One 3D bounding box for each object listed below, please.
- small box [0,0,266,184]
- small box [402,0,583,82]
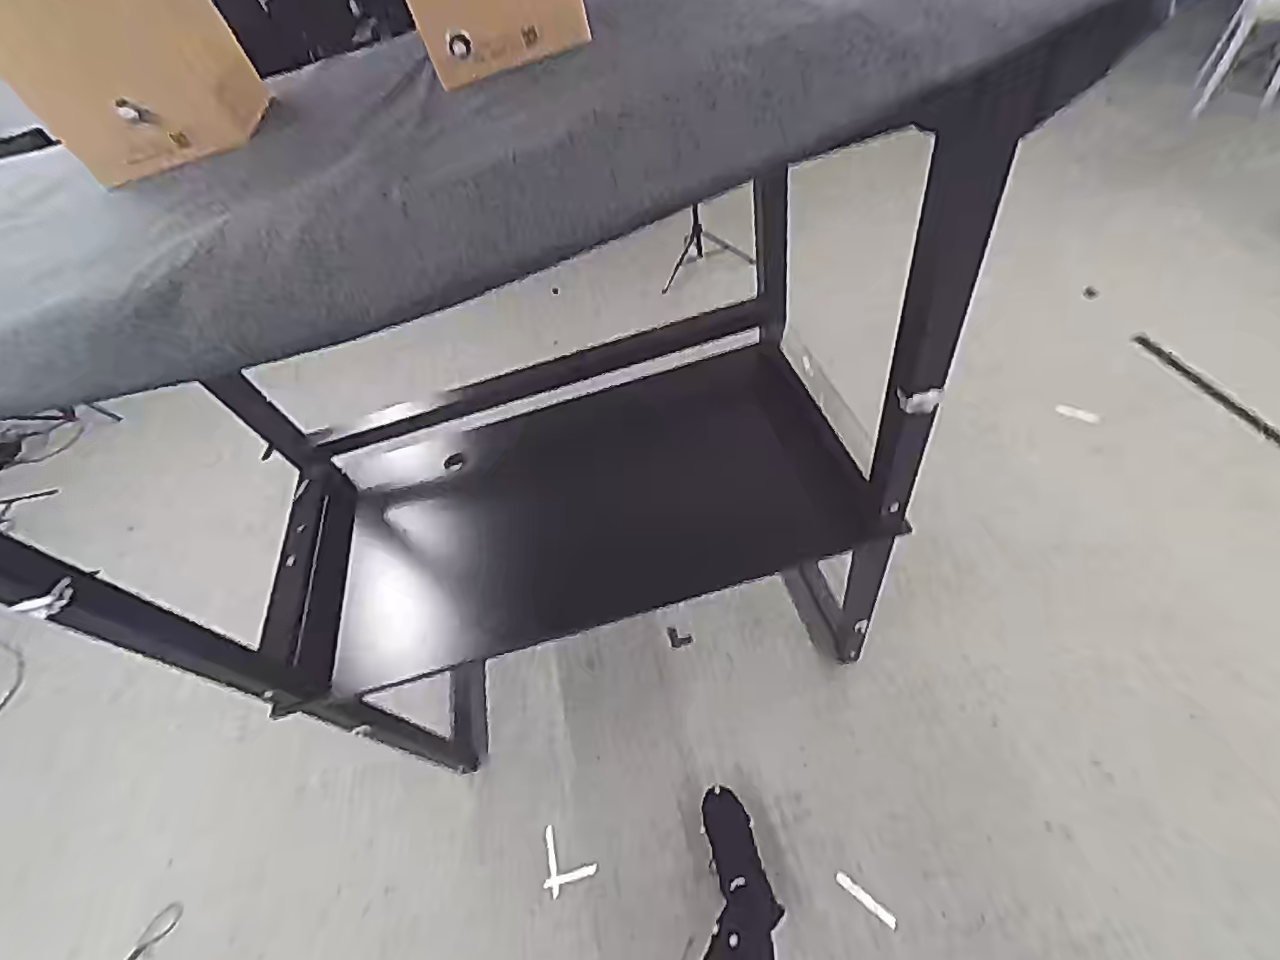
[{"bbox_3d":[-0.550,-0.456,0.588,0.168,0.176,0.179,-20,52,0],"label":"small box"},{"bbox_3d":[-0.168,-0.541,0.553,0.168,0.176,0.179,-19,50,0],"label":"small box"}]
